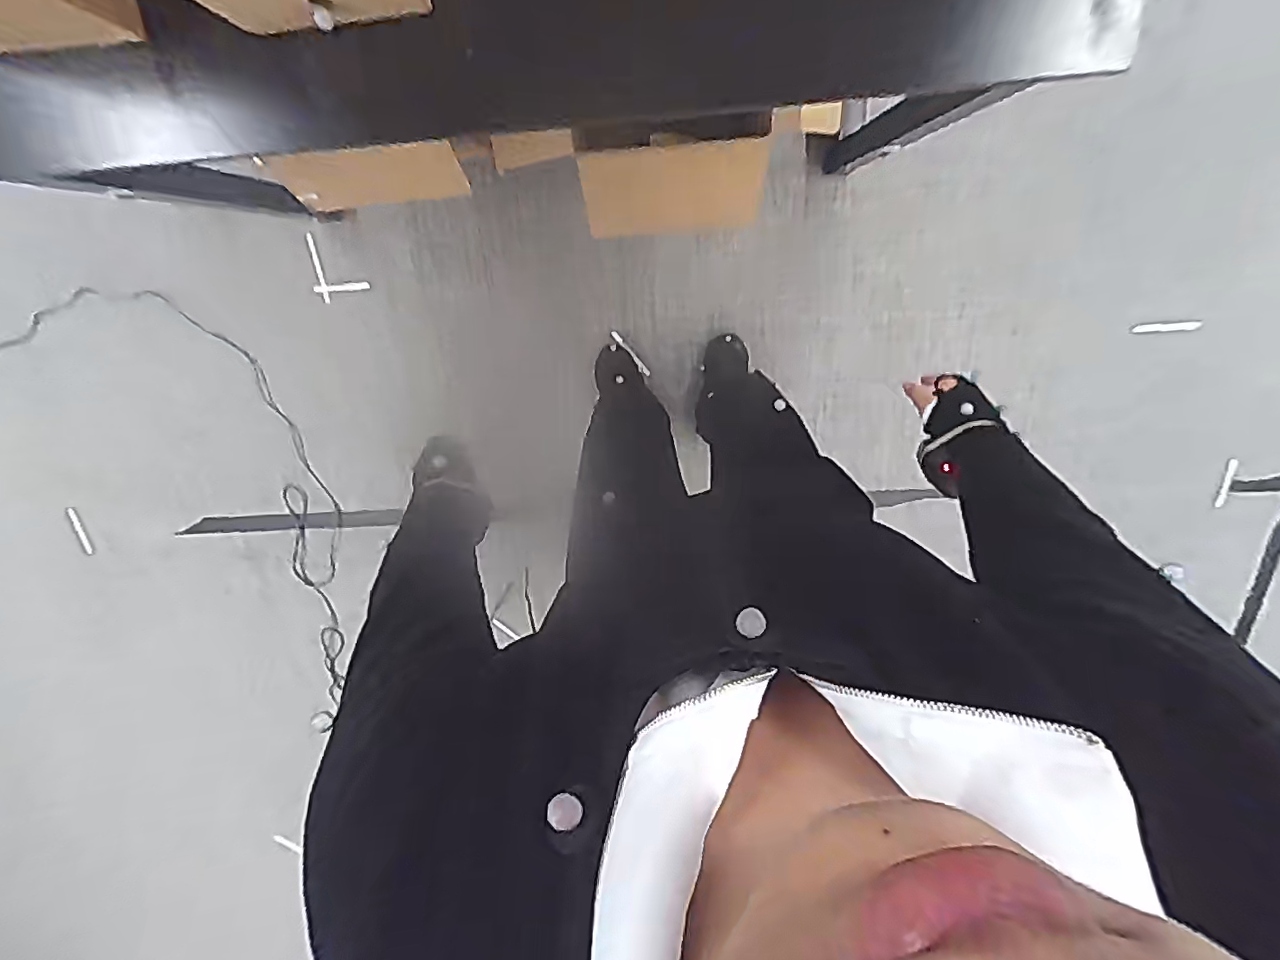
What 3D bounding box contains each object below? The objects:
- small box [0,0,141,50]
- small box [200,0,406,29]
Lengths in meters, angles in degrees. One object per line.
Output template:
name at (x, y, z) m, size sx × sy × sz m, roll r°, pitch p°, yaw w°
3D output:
small box at (-0.545, -0.447, 0.398) m, size 0.179 × 0.176 × 0.168 m, roll -3°, pitch 112°, yaw 1°
small box at (-0.282, -0.465, 0.390) m, size 0.179 × 0.176 × 0.168 m, roll -6°, pitch 111°, yaw 1°
